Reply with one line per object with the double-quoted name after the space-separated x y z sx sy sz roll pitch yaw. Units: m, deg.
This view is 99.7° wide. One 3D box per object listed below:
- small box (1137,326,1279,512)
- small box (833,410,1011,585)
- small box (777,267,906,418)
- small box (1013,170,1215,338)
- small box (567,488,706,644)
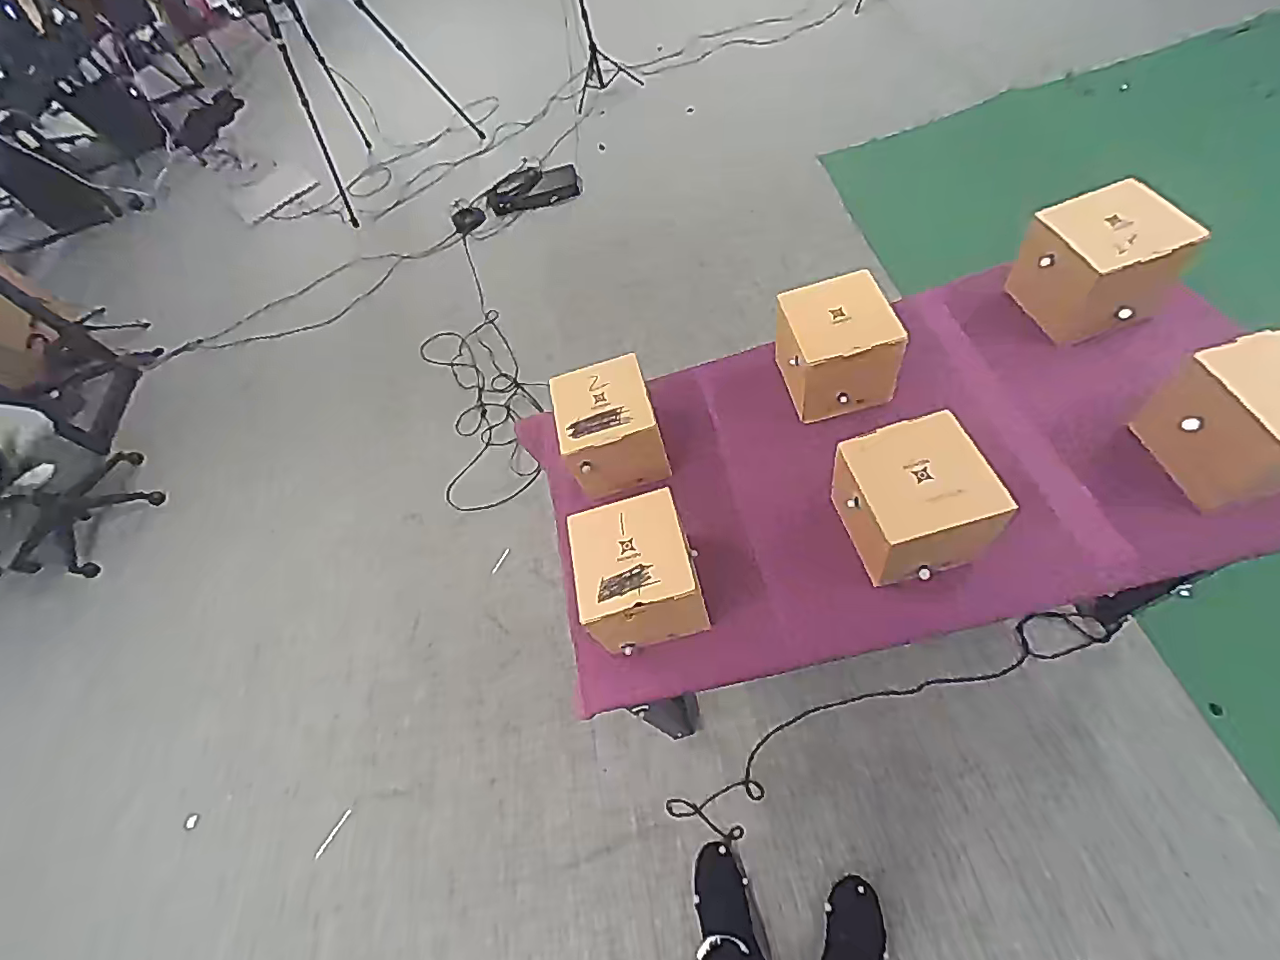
0.846 -0.083 0.733 0.168 0.176 0.179 -16 58 8 "small box"
0.396 0.031 0.802 0.168 0.176 0.179 -17 56 7 "small box"
0.349 -0.242 0.976 0.168 0.176 0.179 -15 60 7 "small box"
0.782 -0.377 0.922 0.168 0.176 0.179 -19 58 8 "small box"
-0.002 0.145 0.850 0.168 0.176 0.179 -17 55 6 "small box"
